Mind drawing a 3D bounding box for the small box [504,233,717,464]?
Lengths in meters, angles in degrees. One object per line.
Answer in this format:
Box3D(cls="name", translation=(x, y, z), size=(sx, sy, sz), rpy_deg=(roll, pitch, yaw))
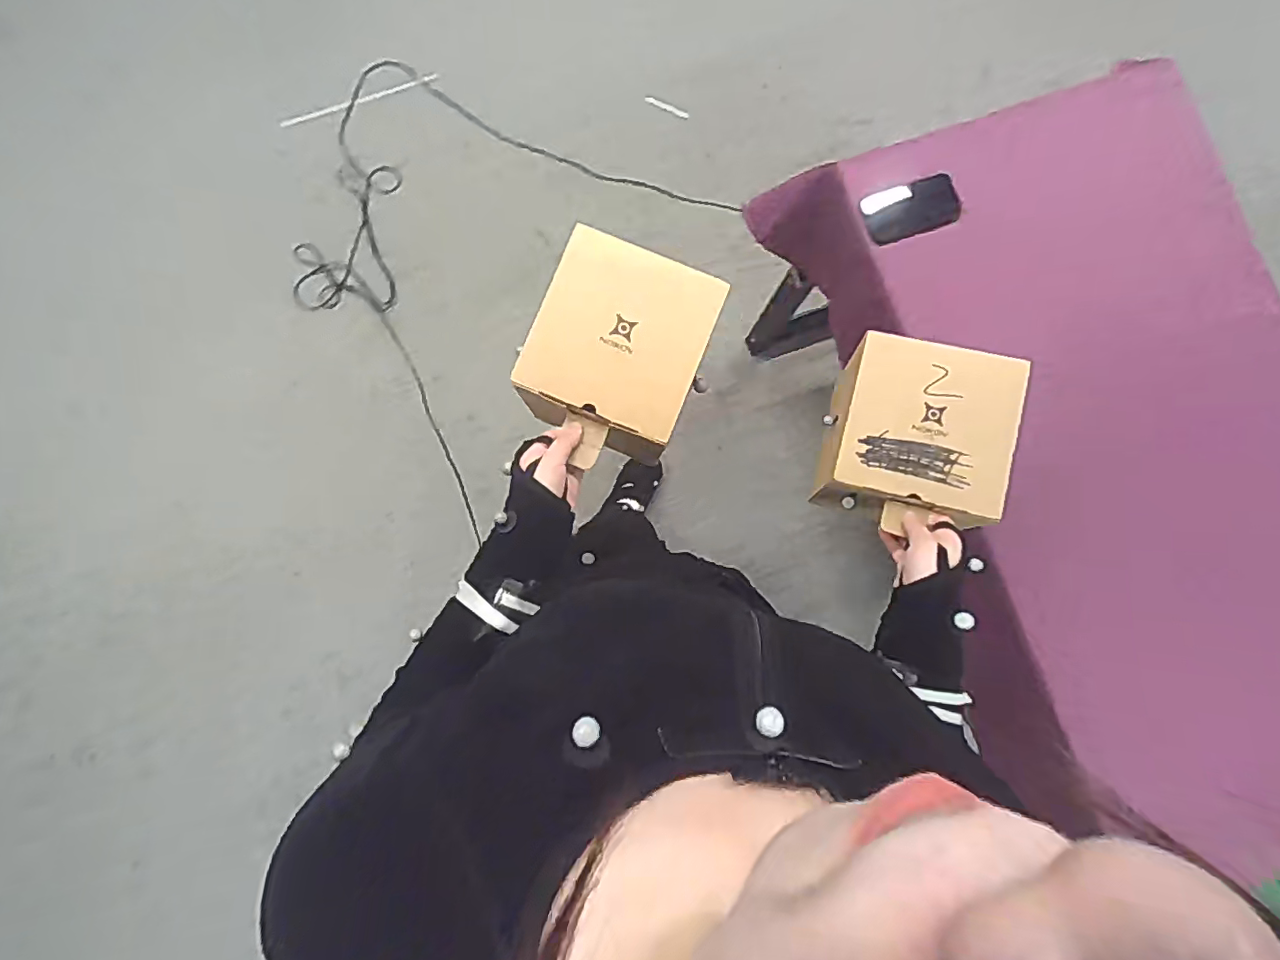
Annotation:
Box3D(cls="small box", translation=(-0.032, -0.132, 0.612), size=(0.168, 0.176, 0.179), rpy_deg=(21, 85, -1))
